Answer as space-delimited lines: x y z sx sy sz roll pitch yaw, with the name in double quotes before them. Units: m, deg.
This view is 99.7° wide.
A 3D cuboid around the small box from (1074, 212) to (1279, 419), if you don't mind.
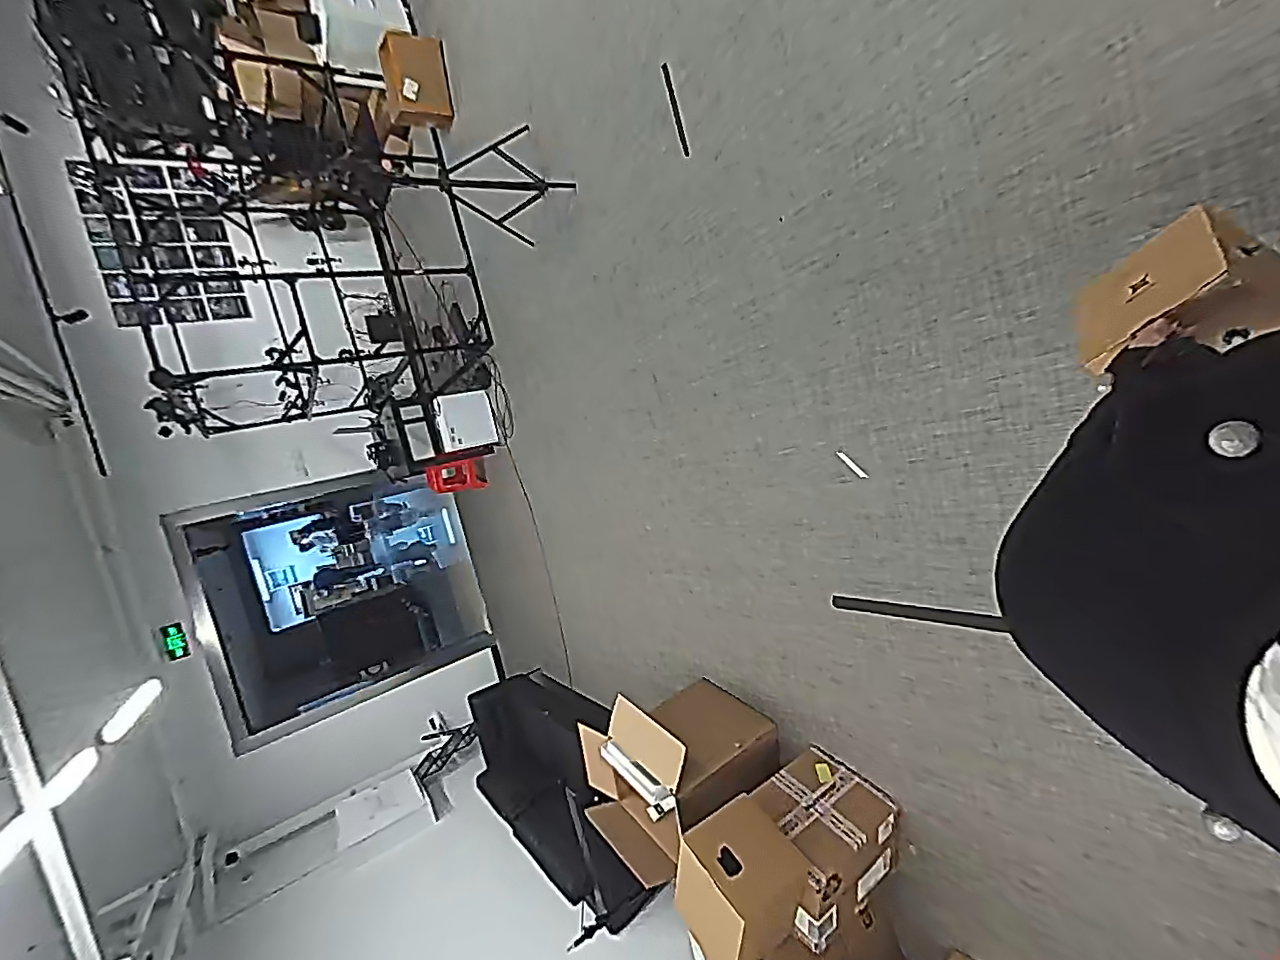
"small box" 0.721 -0.204 0.708 0.176 0.179 0.168 32 145 -1
